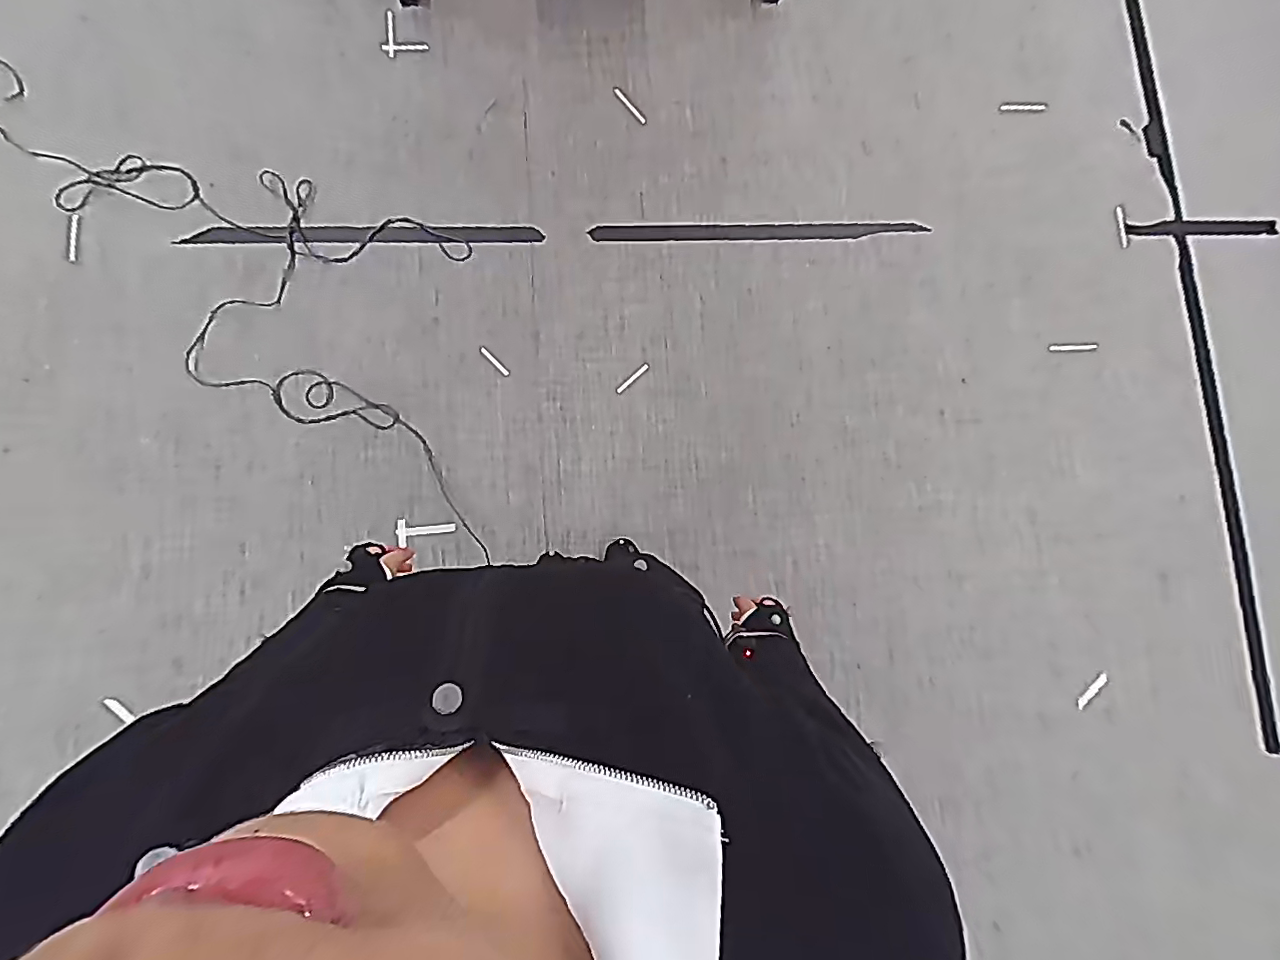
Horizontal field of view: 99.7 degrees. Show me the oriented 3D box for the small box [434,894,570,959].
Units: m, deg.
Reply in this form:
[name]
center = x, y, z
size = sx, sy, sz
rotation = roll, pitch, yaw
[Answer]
[small box]
center = -0.182, 0.679, 0.708
size = 0.168, 0.176, 0.179
rotation = 1, 81, -3
